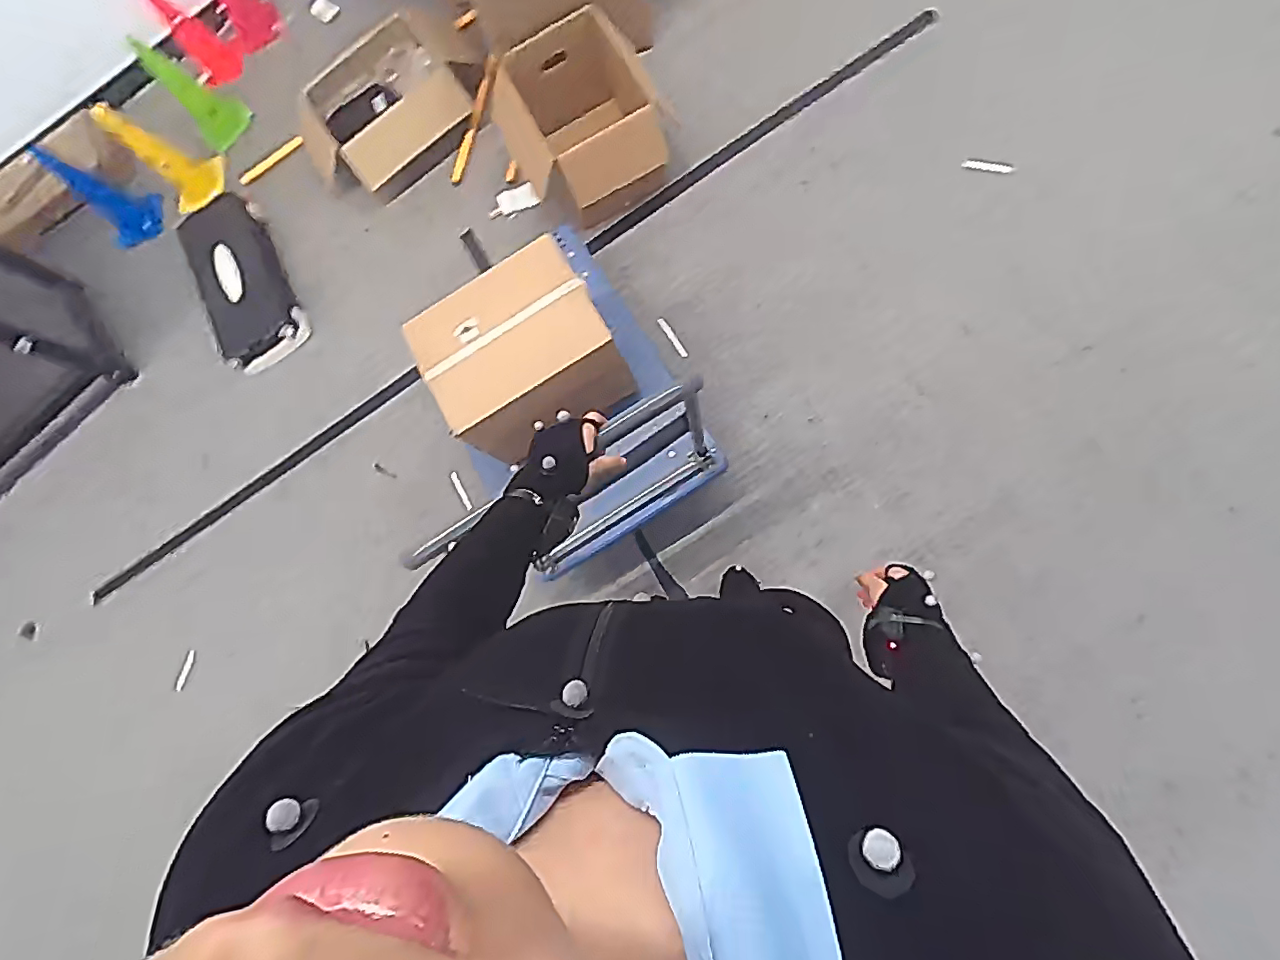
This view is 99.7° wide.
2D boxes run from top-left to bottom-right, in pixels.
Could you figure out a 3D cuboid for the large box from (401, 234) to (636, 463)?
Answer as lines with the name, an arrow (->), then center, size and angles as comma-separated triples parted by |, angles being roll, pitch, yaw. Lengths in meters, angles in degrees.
large box -> -0.276, -0.294, 1.321 | 0.408, 0.320, 0.320 | -32, 75, 5
